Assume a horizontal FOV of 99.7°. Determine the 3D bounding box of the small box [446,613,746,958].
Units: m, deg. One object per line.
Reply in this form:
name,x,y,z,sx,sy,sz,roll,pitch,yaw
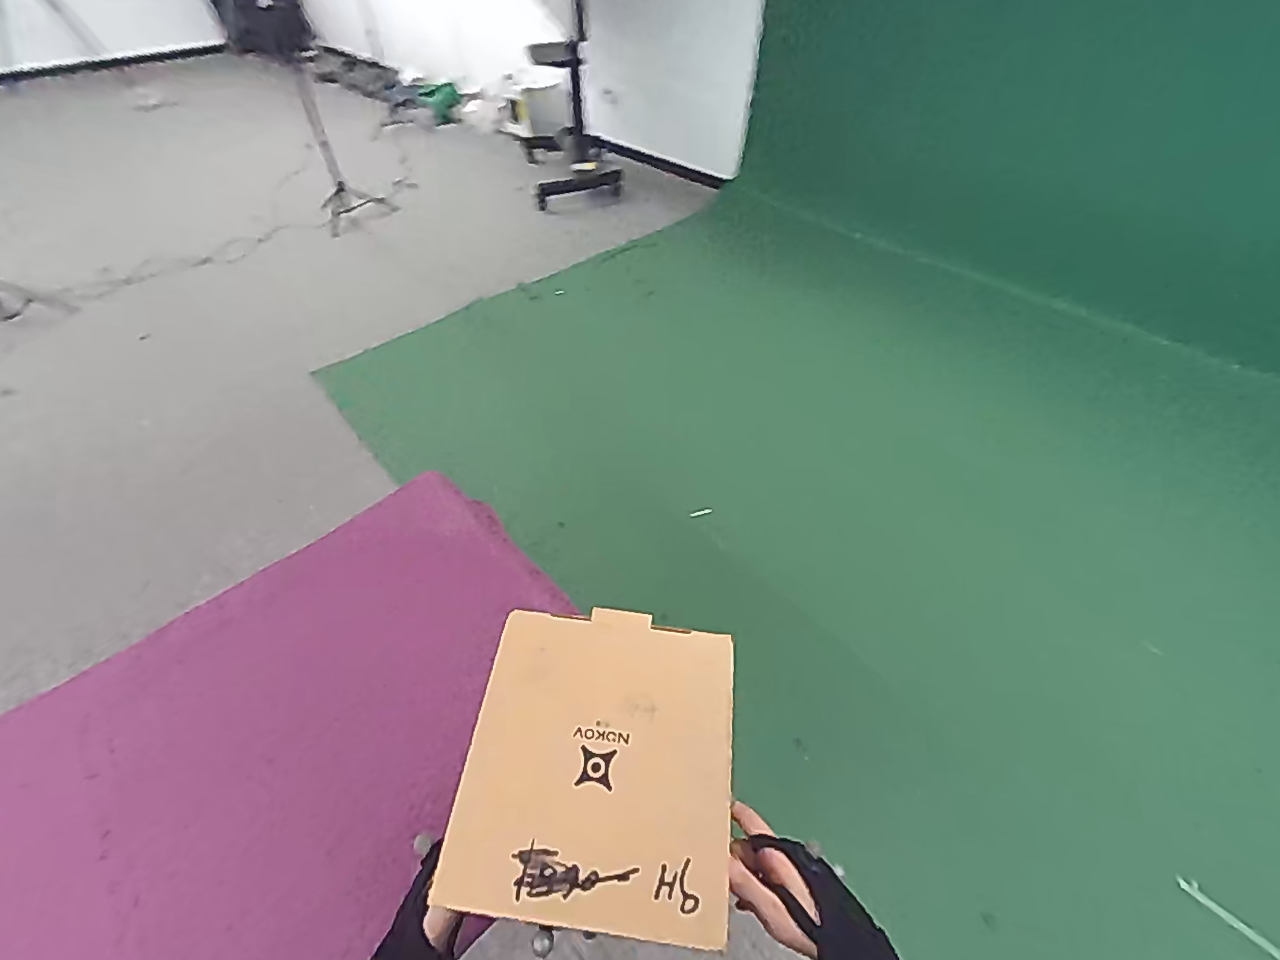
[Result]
small box,-0.015,0.224,0.406,0.168,0.176,0.179,5,53,7
